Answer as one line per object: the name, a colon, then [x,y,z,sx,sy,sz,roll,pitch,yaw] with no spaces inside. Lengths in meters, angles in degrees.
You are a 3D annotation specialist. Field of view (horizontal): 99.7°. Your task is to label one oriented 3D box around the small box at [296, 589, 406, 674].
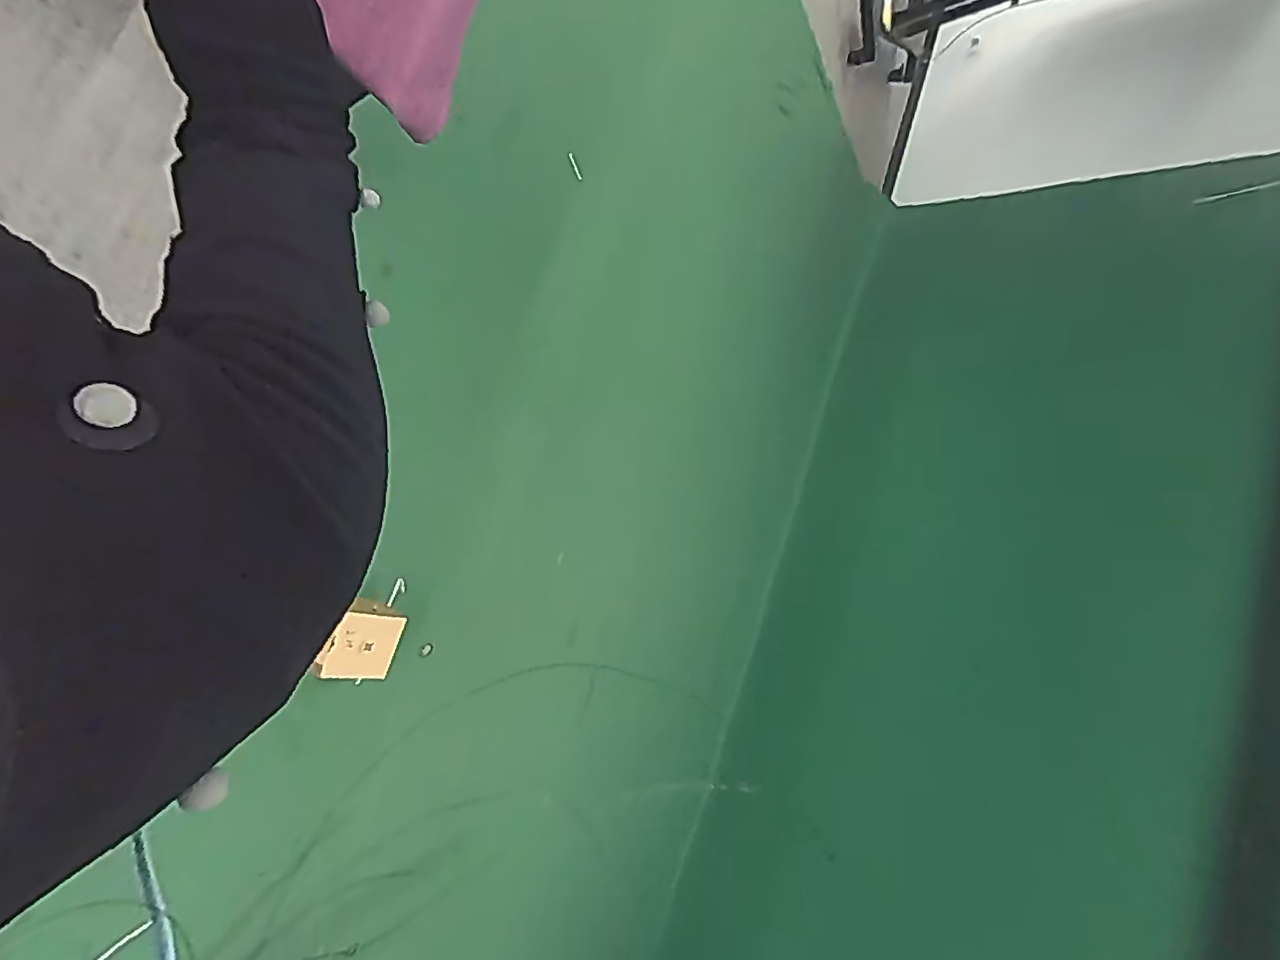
small box: [-0.763,0.398,1.429,0.179,0.176,0.168,27,78,-50]
